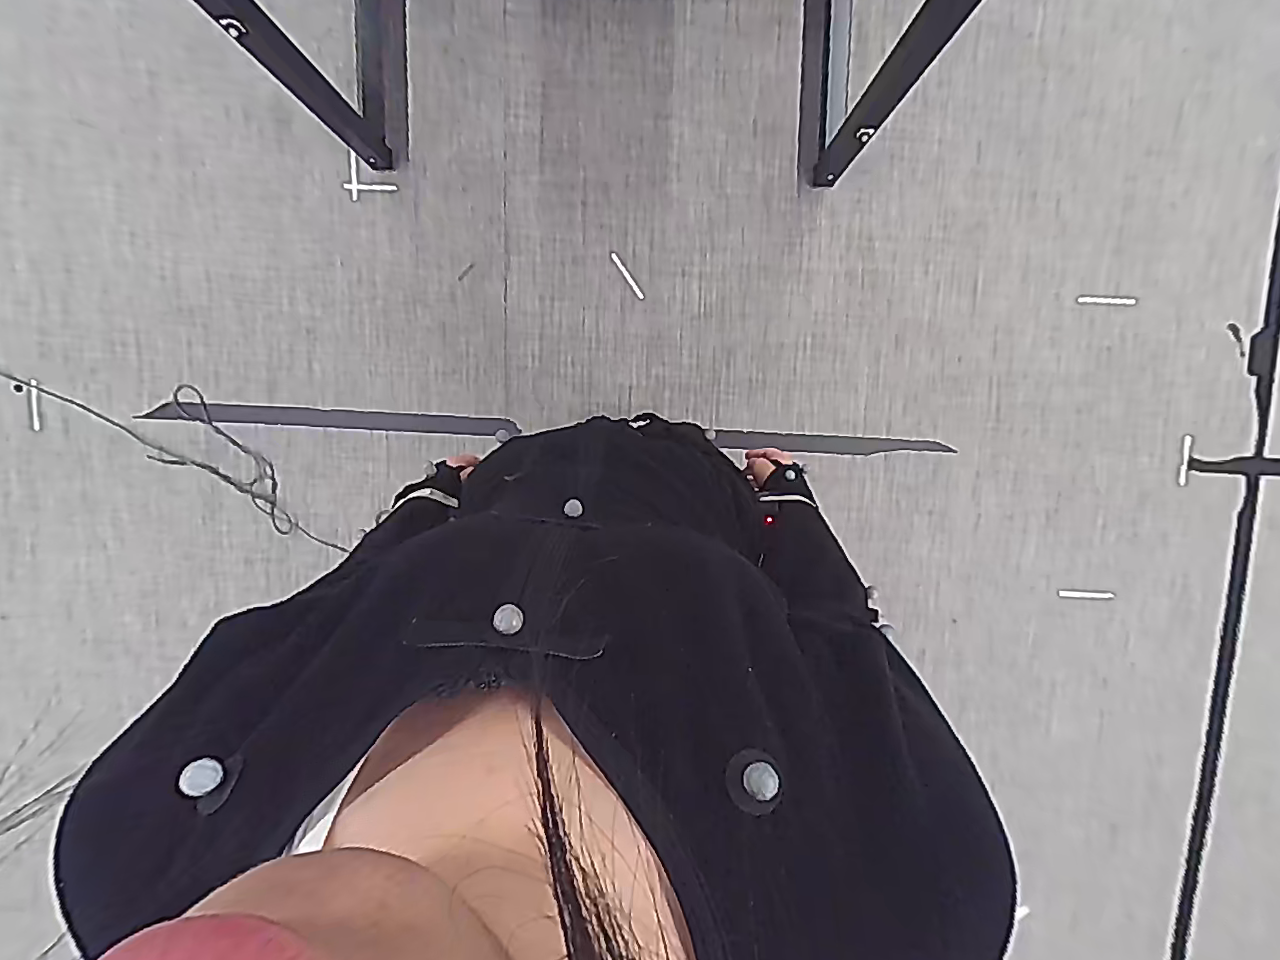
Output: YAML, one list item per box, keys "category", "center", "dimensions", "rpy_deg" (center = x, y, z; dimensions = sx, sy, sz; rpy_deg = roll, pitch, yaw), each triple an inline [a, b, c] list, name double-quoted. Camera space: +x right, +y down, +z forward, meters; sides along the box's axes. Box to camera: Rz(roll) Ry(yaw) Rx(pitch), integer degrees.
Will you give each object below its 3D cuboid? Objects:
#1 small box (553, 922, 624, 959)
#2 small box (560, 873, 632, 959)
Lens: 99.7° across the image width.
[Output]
- category: "small box"
  center: [-0.124, 1.269, 1.352]
  dimensions: [0.168, 0.176, 0.179]
  rpy_deg: [-11, 96, -1]
- category: "small box"
  center: [-0.120, 1.245, 1.516]
  dimensions: [0.168, 0.176, 0.179]
  rpy_deg: [-12, 95, 0]
